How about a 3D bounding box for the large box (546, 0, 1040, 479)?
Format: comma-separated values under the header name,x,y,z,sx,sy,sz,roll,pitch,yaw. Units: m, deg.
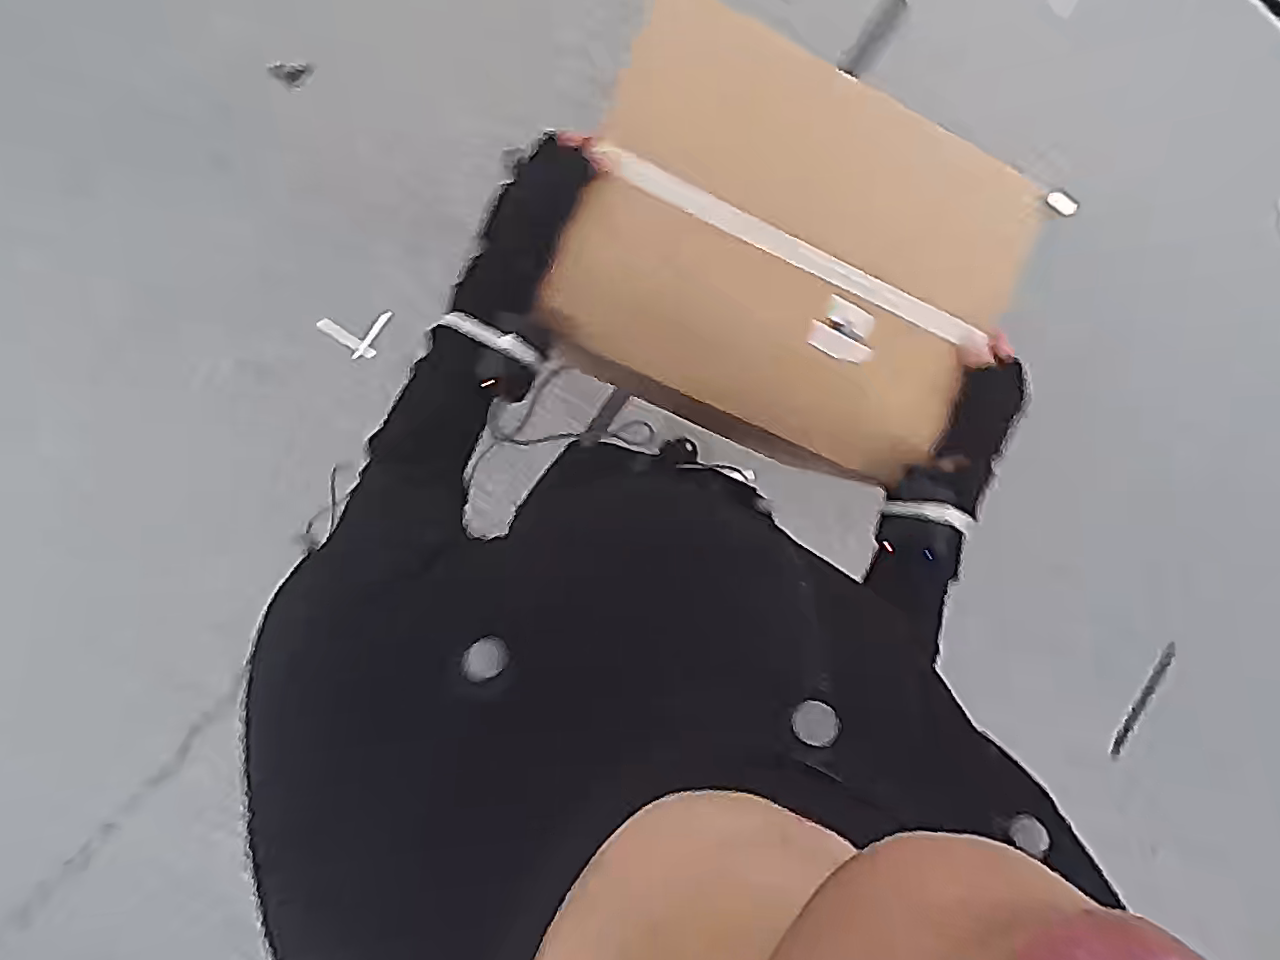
name,x,y,z,sx,sy,sz,roll,pitch,yaw
large box,0.133,-0.230,0.652,0.408,0.320,0.320,23,95,-9
